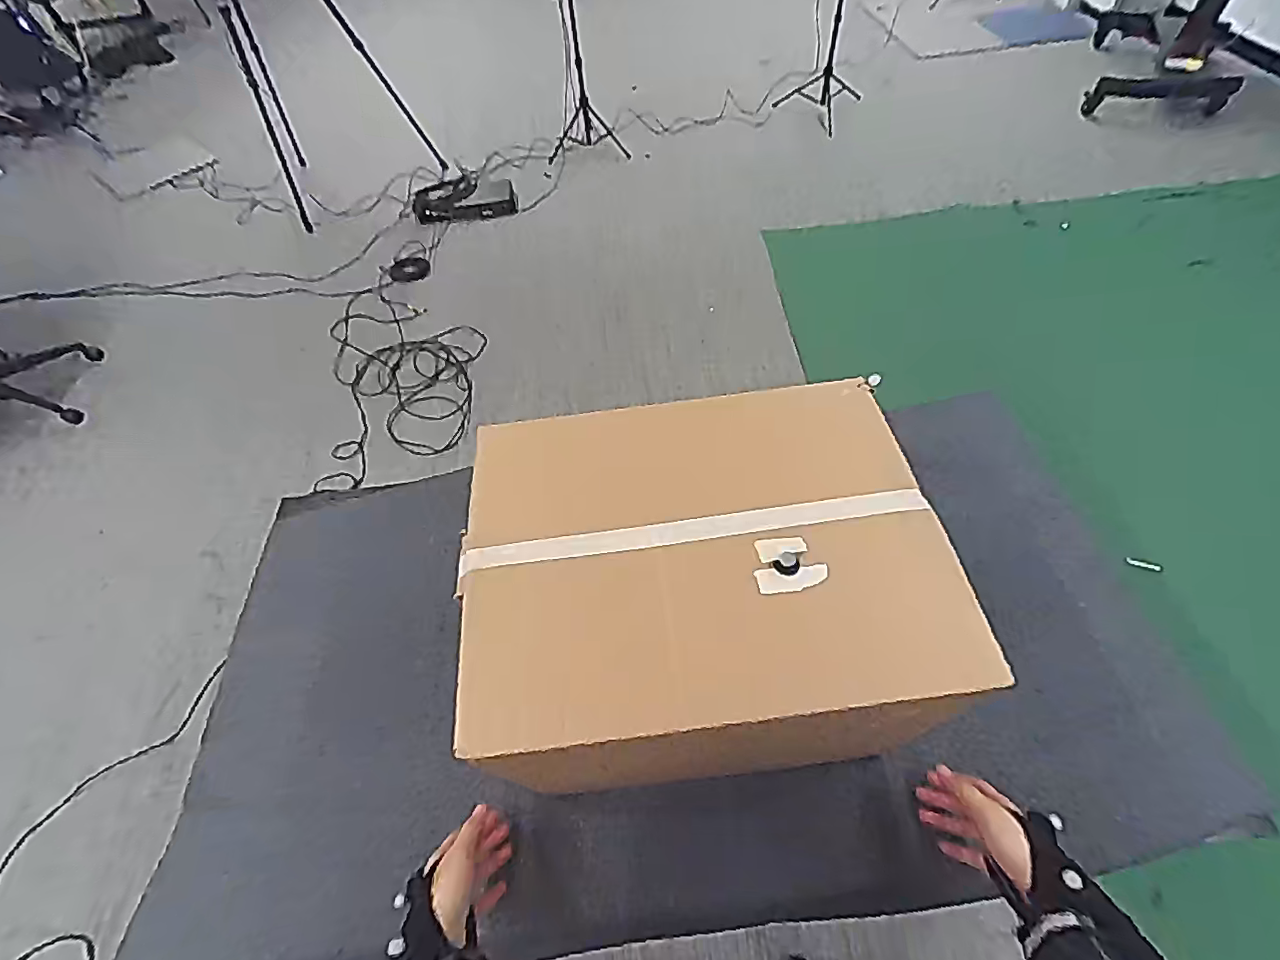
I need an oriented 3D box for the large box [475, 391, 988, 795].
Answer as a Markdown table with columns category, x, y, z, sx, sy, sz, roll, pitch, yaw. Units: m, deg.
| category | x | y | z | sx | sy | sz | roll | pitch | yaw |
| --- | --- | --- | --- | --- | --- | --- | --- | --- | --- |
| large box | 0.061 | 0.139 | 0.612 | 0.408 | 0.320 | 0.320 | -7 | 56 | -1 |
